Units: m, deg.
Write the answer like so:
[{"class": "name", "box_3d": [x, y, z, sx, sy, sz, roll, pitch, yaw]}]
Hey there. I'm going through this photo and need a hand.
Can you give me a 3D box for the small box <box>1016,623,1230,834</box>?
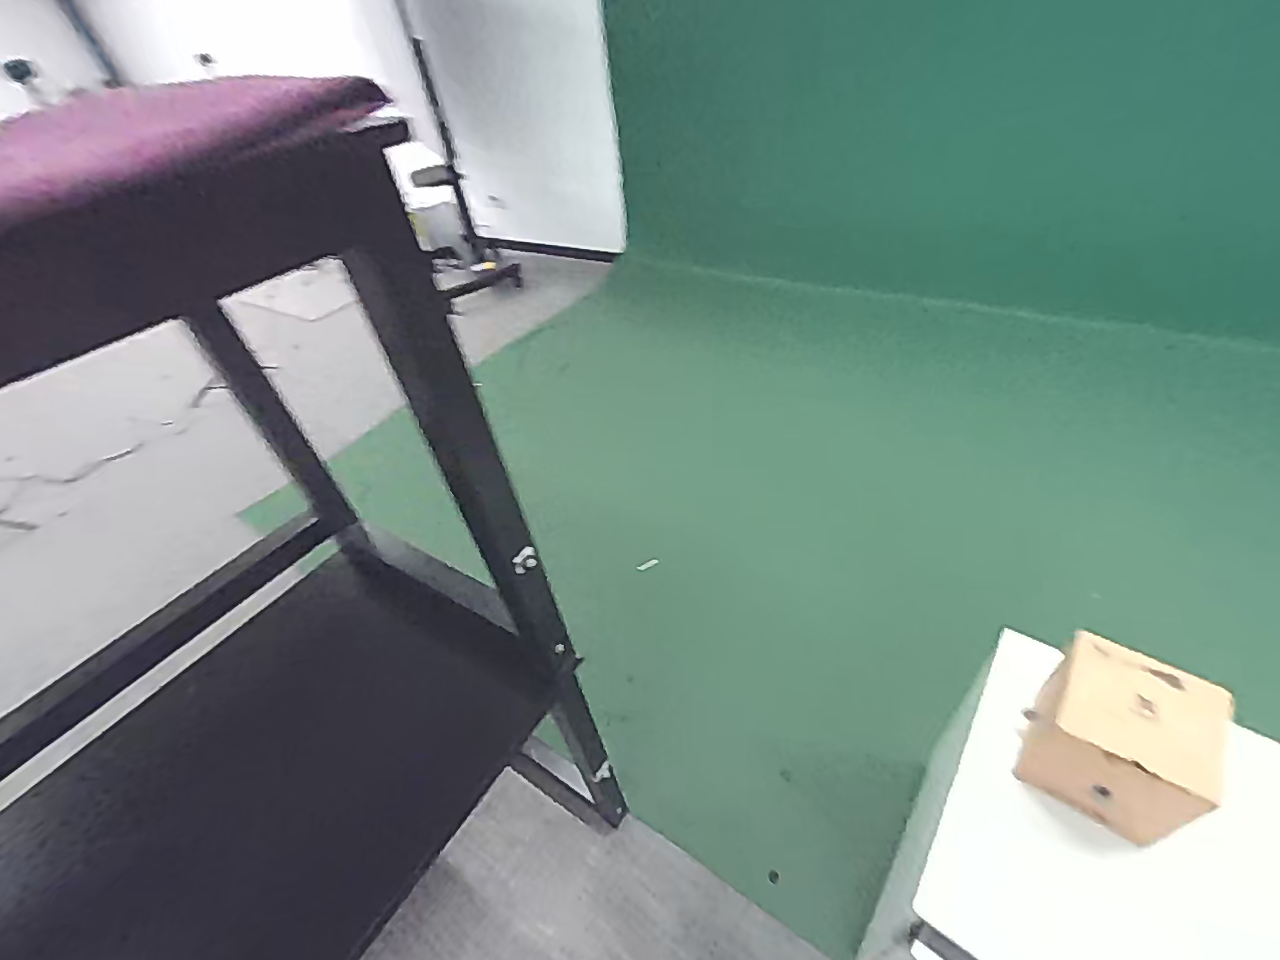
[{"class": "small box", "box_3d": [0.652, 0.342, 0.747, 0.168, 0.176, 0.179, 24, 52, 31]}]
